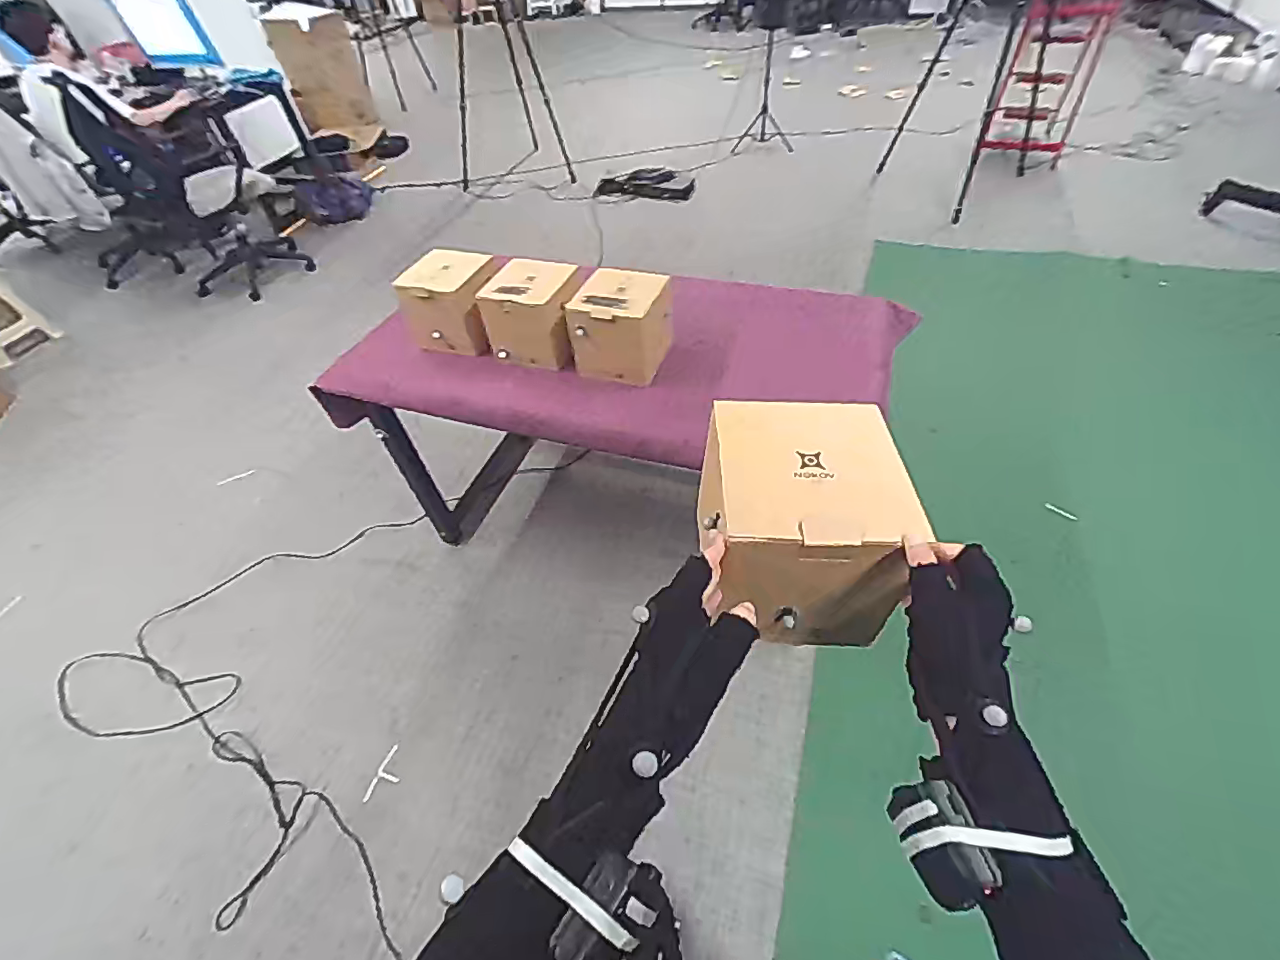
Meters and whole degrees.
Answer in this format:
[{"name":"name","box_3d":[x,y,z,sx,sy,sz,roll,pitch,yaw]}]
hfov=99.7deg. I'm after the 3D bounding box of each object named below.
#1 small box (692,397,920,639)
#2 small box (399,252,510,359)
[{"name":"small box","box_3d":[0.143,0.038,0.545,0.168,0.176,0.179,1,47,1]},{"name":"small box","box_3d":[-0.430,-0.417,1.292,0.168,0.176,0.179,12,52,17]}]
